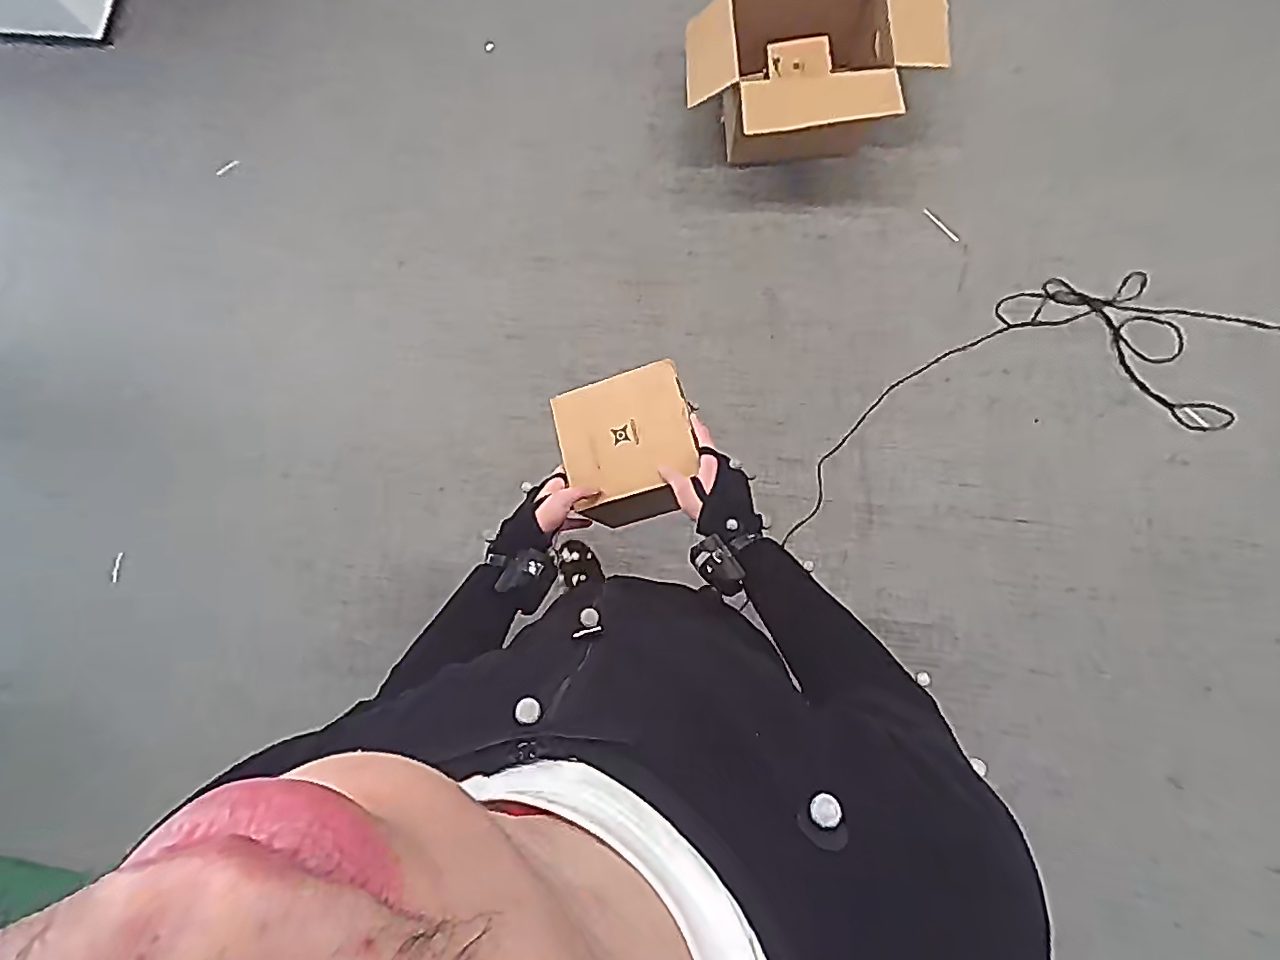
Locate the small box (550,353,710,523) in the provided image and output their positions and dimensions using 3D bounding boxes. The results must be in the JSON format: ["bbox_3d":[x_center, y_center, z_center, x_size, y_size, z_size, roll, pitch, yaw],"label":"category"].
[{"bbox_3d":[-0.005,-0.048,0.759,0.179,0.176,0.168,-16,72,11],"label":"small box"}]
